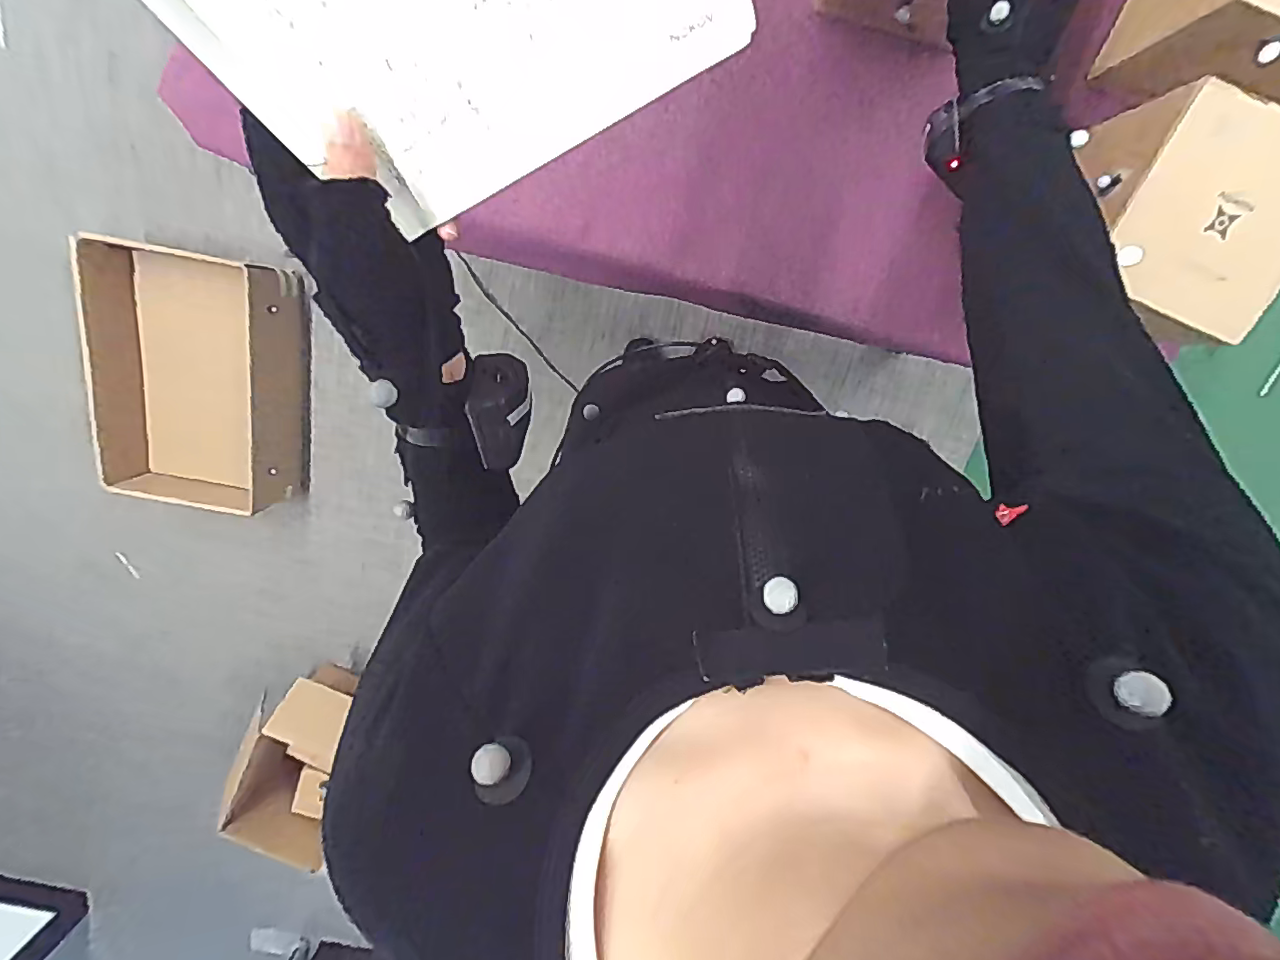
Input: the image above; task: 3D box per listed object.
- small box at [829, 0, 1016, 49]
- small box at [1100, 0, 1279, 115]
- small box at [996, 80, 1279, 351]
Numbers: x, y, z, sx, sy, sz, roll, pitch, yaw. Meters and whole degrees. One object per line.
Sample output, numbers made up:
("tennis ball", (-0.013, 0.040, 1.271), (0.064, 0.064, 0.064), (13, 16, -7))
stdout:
("small box", (0.285, -0.536, 0.474), (0.168, 0.176, 0.179), (15, 108, -3))
("small box", (0.586, -0.454, 0.489), (0.168, 0.176, 0.179), (20, 106, -4))
("small box", (0.518, -0.251, 0.555), (0.168, 0.176, 0.179), (23, 107, -4))
